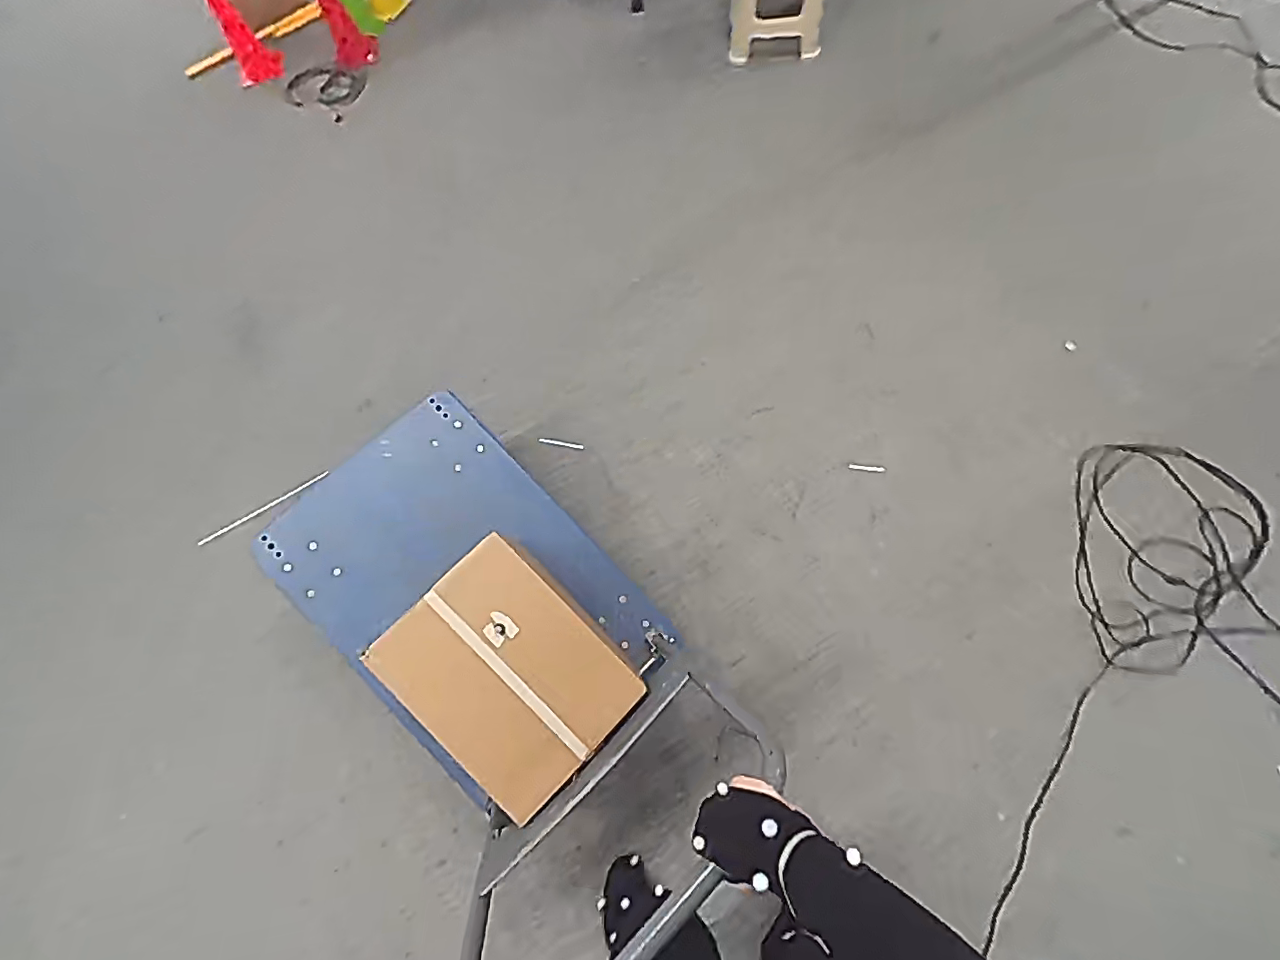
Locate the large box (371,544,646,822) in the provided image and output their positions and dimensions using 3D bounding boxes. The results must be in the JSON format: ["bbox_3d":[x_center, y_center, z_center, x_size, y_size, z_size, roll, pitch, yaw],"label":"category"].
[{"bbox_3d":[-0.244,0.382,1.119,0.408,0.320,0.320,44,79,3],"label":"large box"}]
